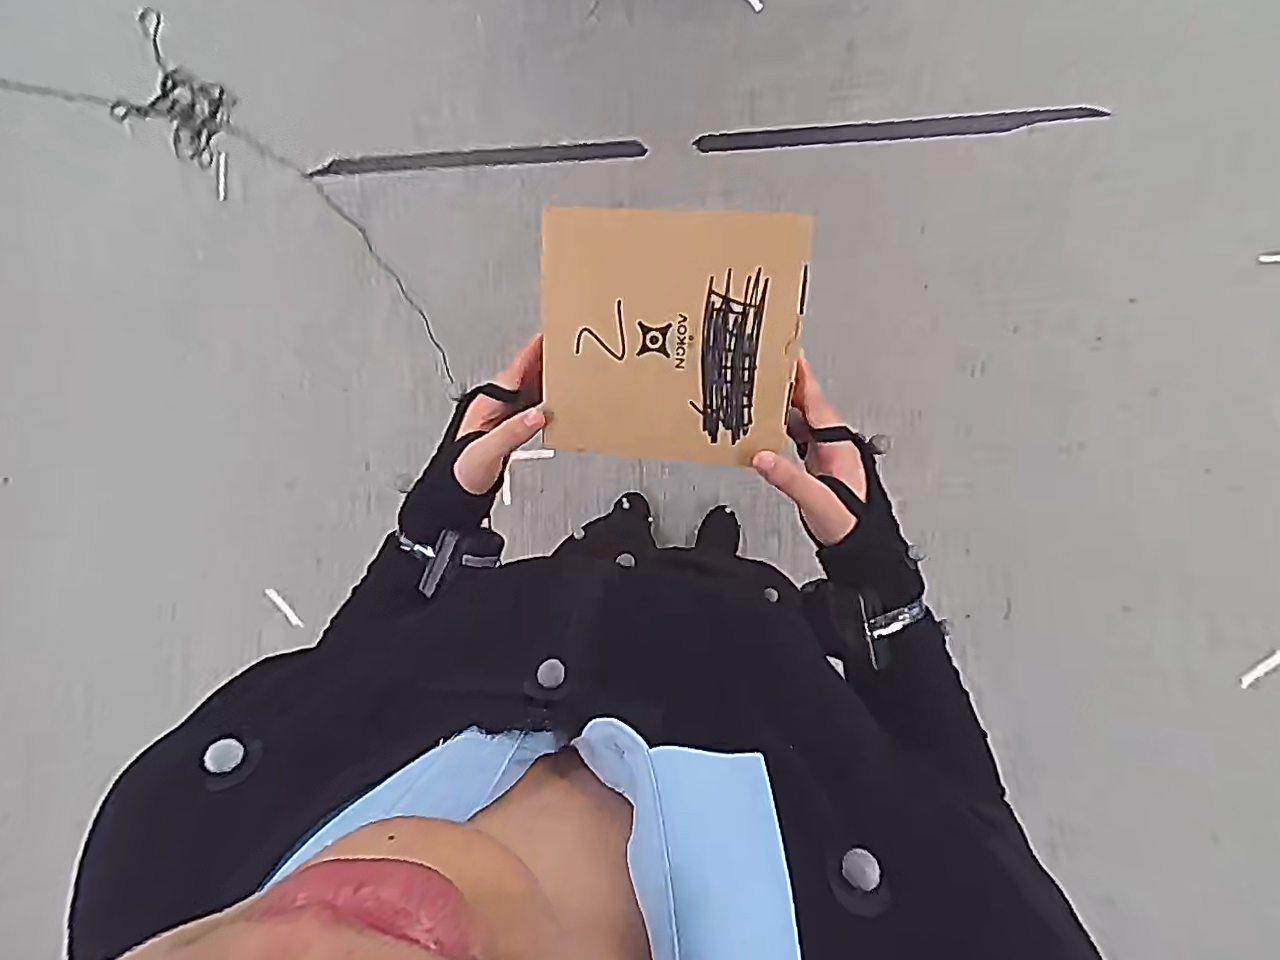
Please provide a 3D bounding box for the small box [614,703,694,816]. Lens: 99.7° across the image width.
[{"bbox_3d":[0.038,0.631,1.236,0.168,0.176,0.179,-3,88,6],"label":"small box"}]
